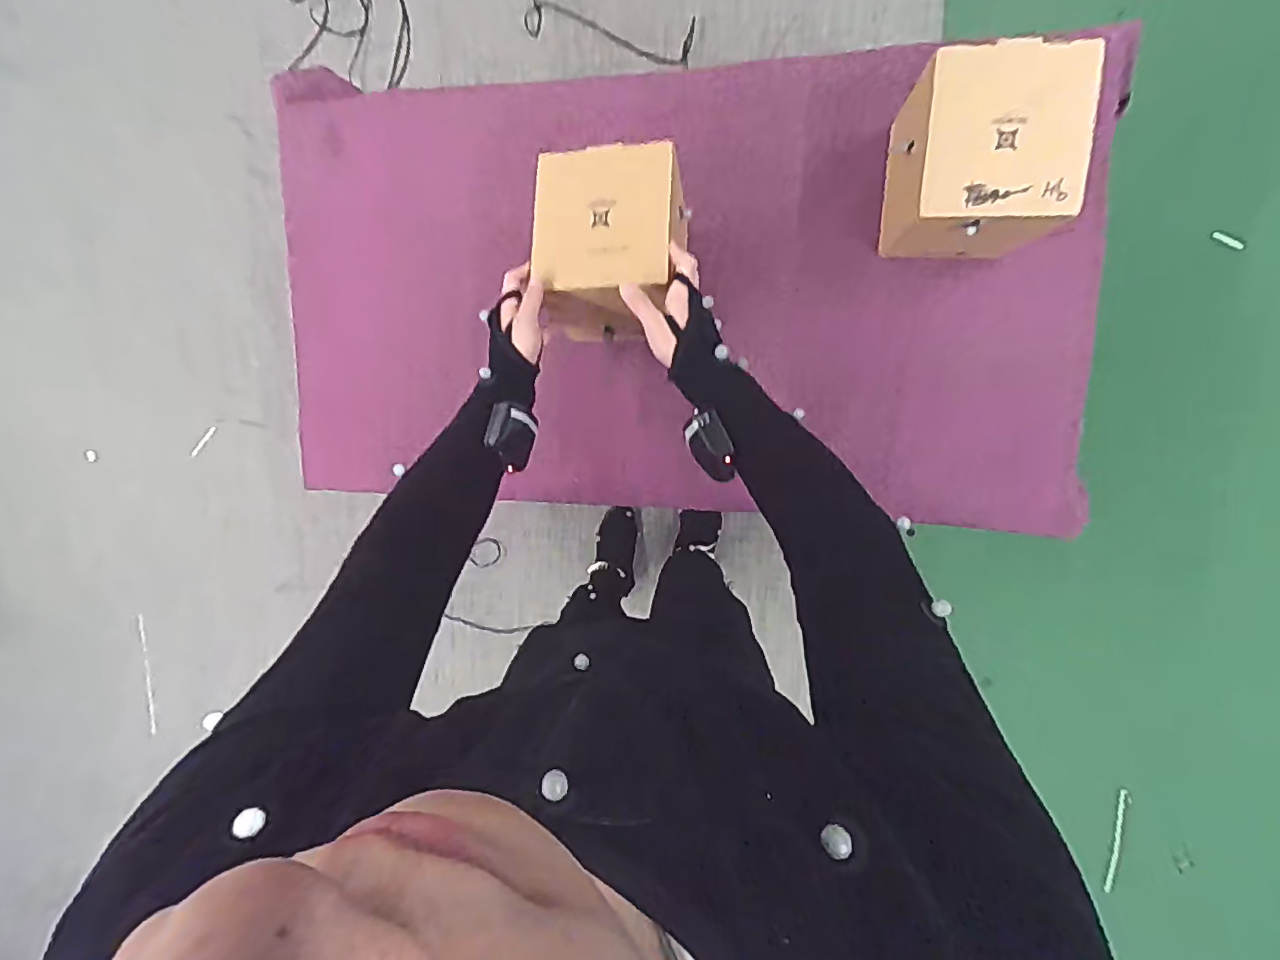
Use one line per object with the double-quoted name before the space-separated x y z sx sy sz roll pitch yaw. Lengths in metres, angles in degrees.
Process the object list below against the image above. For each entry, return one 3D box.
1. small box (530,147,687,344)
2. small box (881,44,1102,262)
"small box" -0.030 -0.291 0.703 0.168 0.176 0.179 2 84 11
"small box" 0.408 -0.383 0.661 0.168 0.176 0.179 4 98 9
